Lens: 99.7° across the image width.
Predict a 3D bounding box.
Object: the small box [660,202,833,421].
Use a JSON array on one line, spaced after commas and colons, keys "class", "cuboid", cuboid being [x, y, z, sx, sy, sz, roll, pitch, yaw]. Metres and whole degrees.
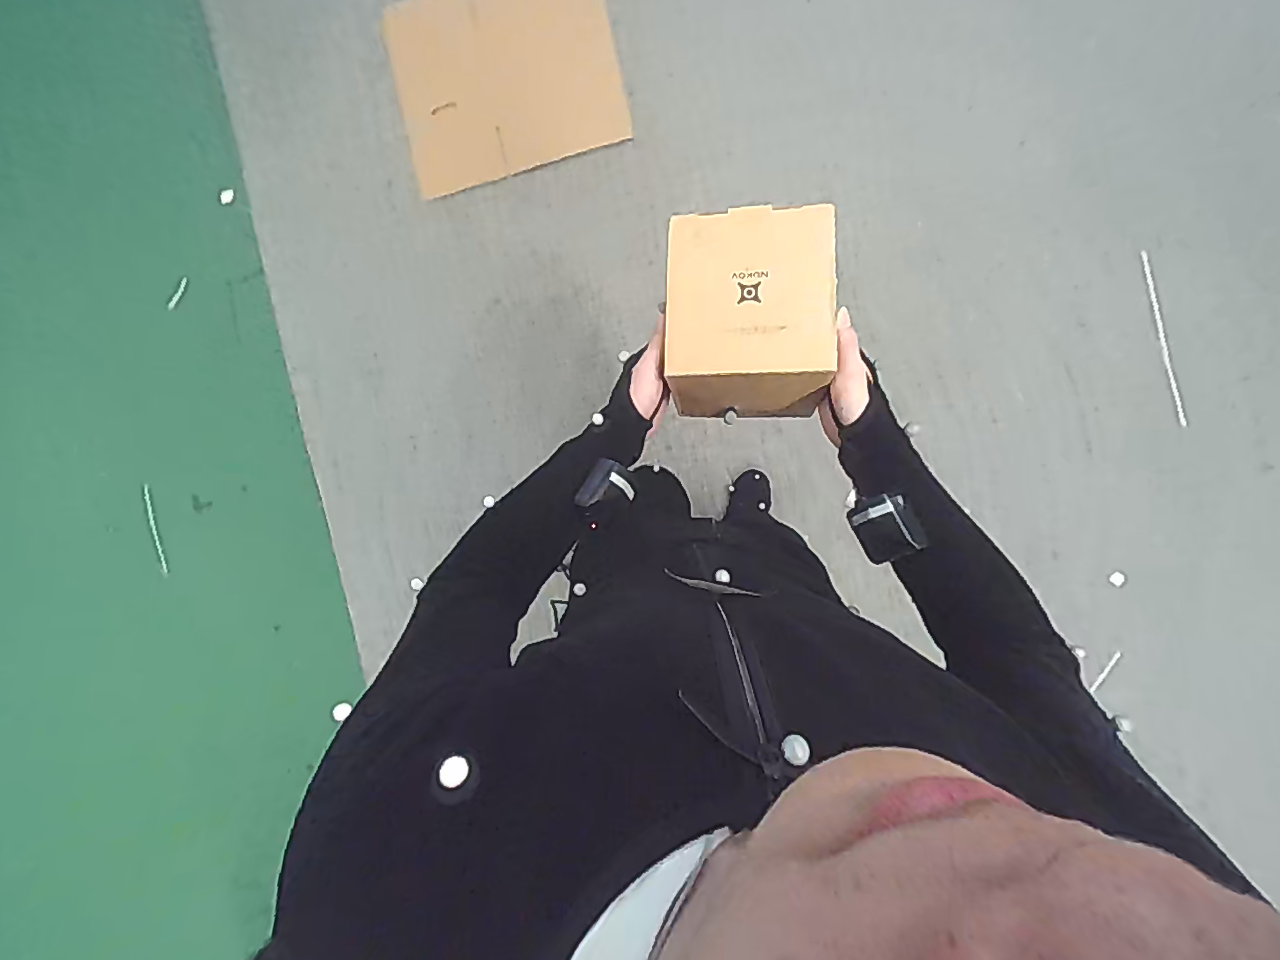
[{"class": "small box", "cuboid": [0.116, -0.174, 0.605, 0.168, 0.176, 0.179, 0, 80, 11]}]
